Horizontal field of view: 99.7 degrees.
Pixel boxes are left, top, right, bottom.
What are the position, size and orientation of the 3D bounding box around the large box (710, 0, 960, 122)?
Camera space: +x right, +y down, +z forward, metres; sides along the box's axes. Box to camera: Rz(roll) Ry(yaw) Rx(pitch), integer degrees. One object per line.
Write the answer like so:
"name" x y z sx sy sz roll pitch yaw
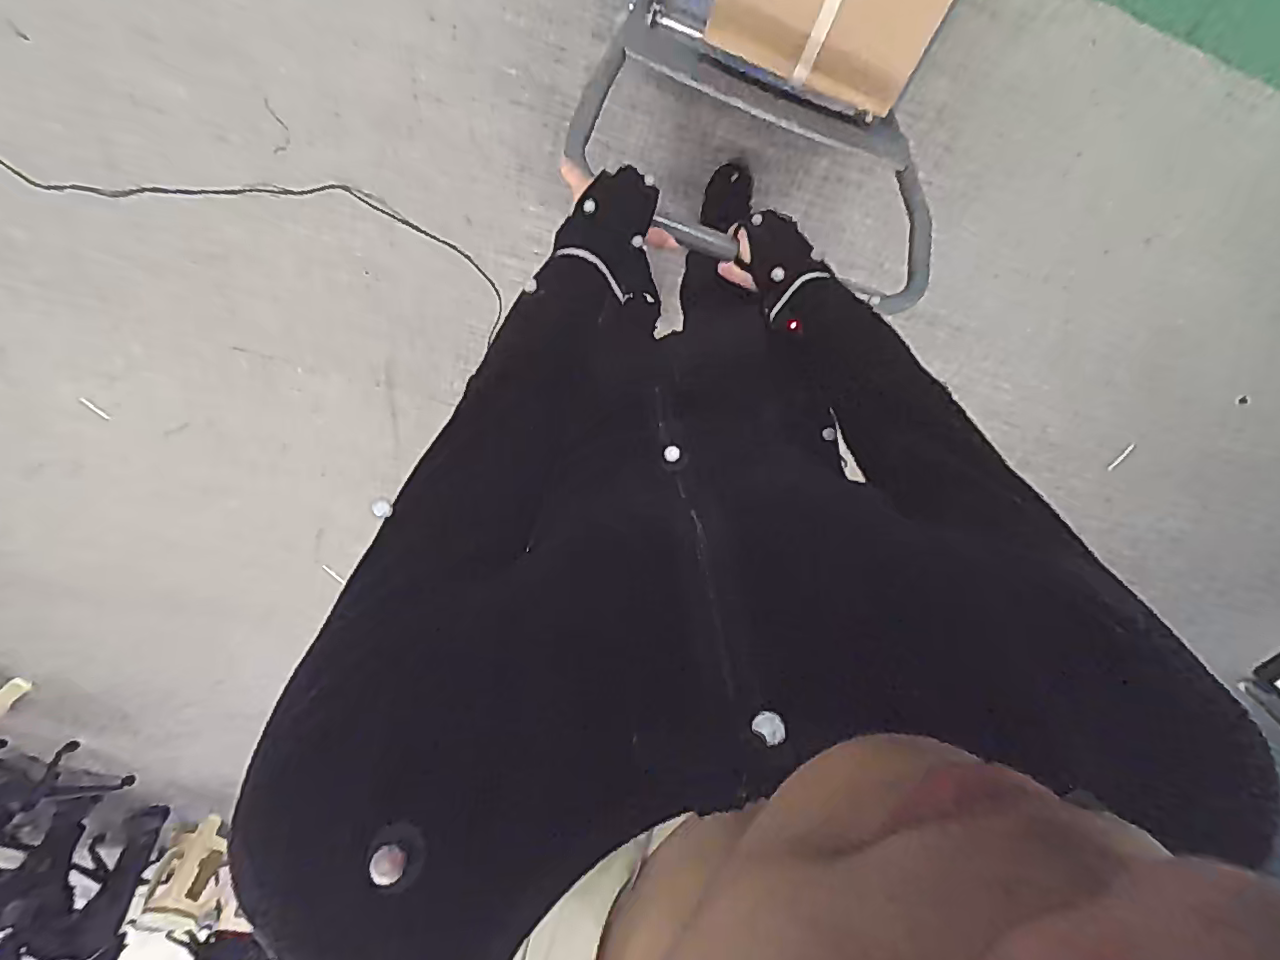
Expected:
"large box" 0.324 -0.832 0.785 0.320 0.320 0.408 17 138 -7
